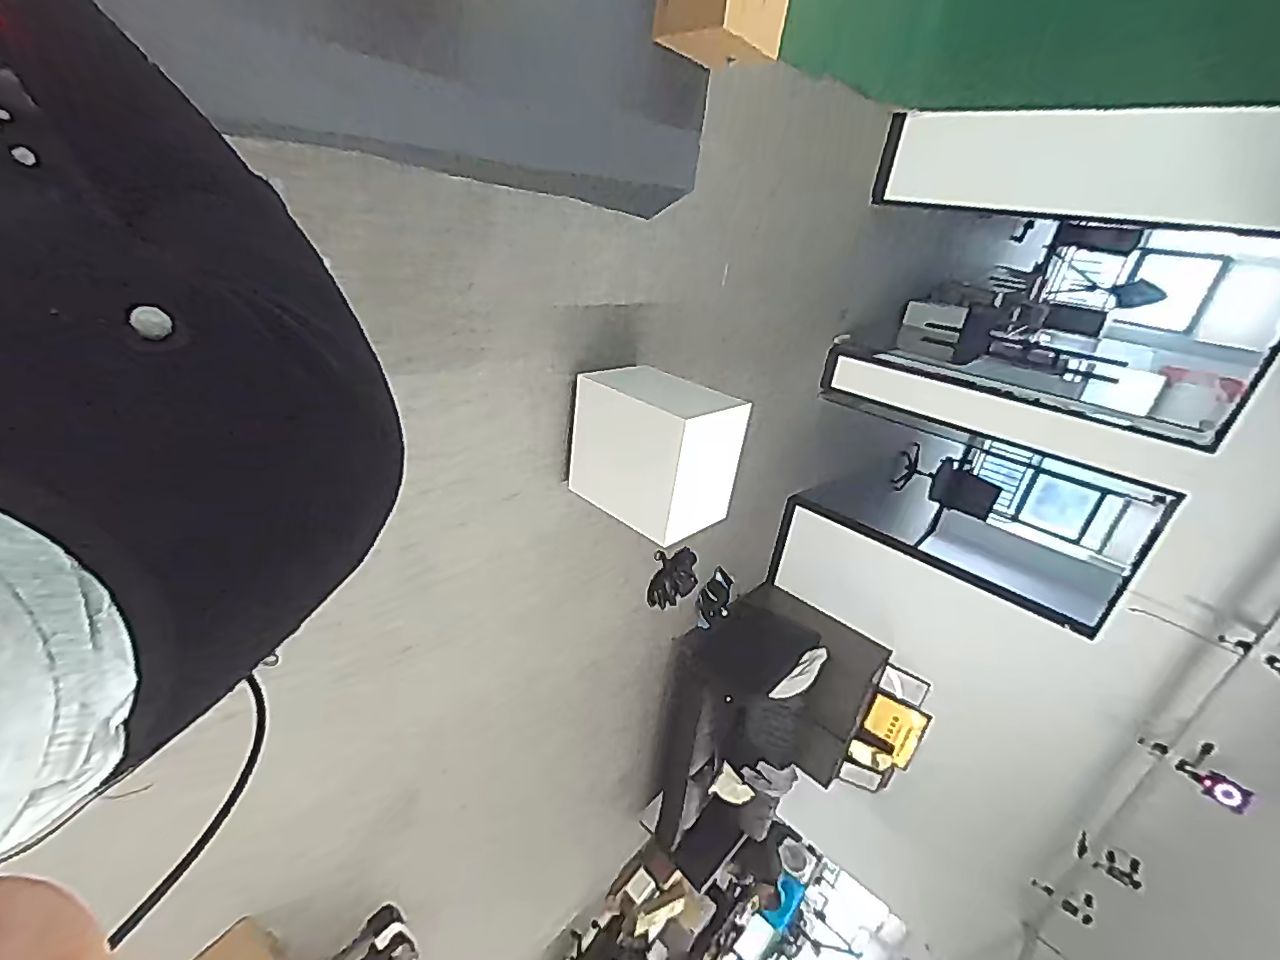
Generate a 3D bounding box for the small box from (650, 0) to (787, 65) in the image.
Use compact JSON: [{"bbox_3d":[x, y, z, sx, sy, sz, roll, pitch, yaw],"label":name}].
[{"bbox_3d":[0.144,-0.858,0.954,0.179,0.176,0.168,-18,125,-43],"label":"small box"}]
